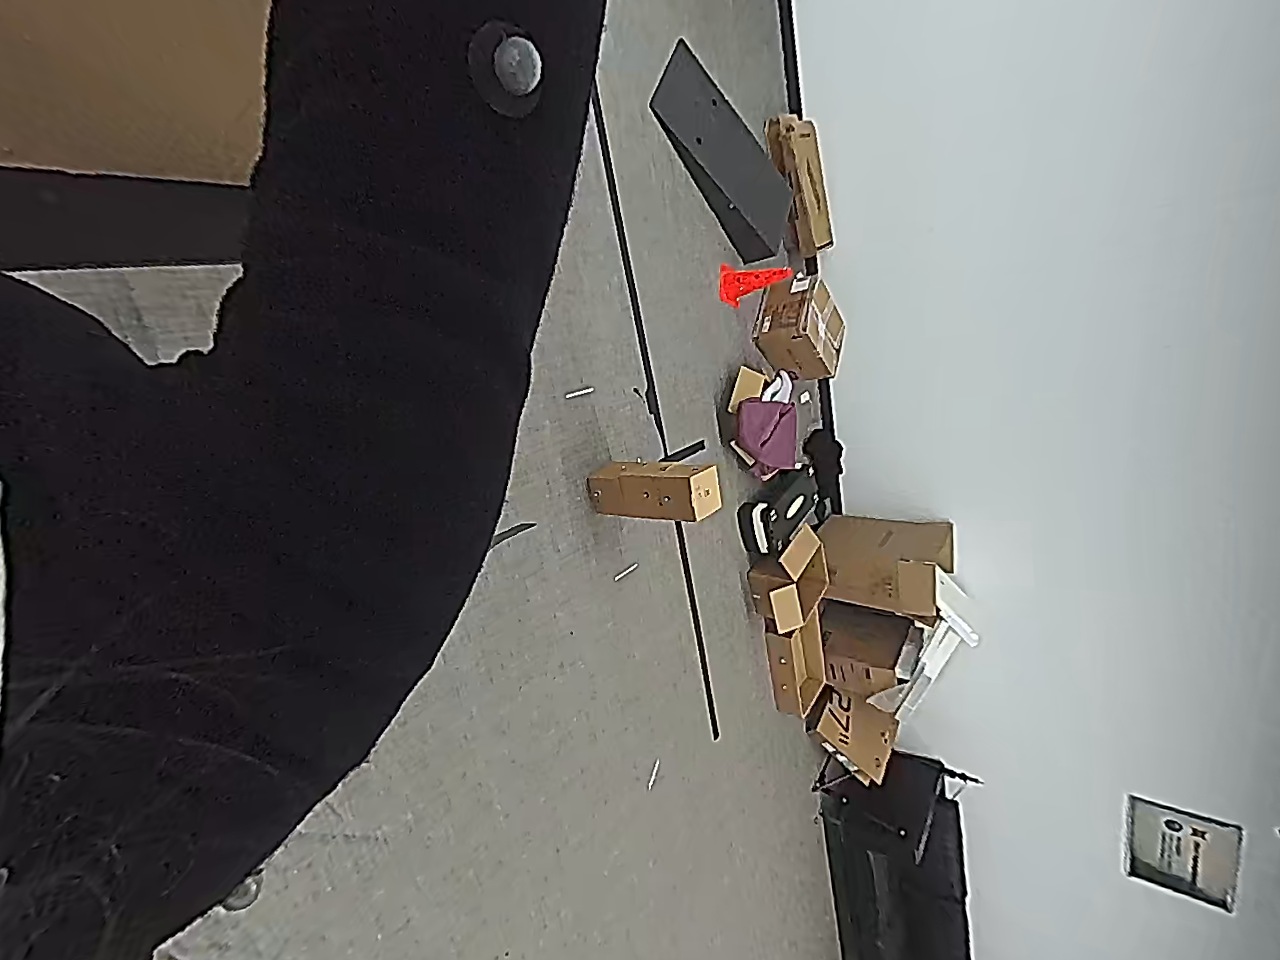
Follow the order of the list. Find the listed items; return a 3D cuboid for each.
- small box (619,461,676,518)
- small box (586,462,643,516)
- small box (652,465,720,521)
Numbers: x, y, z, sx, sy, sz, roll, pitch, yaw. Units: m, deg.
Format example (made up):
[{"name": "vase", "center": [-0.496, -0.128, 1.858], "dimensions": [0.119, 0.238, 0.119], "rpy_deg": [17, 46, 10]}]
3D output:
[{"name": "small box", "center": [0.040, 0.035, 2.079], "dimensions": [0.168, 0.176, 0.179], "rpy_deg": [-28, 113, -46]}, {"name": "small box", "center": [-0.087, 0.030, 2.184], "dimensions": [0.179, 0.176, 0.168], "rpy_deg": [-33, 116, -43]}, {"name": "small box", "center": [0.168, 0.042, 1.976], "dimensions": [0.179, 0.176, 0.168], "rpy_deg": [-24, 109, -47]}]
